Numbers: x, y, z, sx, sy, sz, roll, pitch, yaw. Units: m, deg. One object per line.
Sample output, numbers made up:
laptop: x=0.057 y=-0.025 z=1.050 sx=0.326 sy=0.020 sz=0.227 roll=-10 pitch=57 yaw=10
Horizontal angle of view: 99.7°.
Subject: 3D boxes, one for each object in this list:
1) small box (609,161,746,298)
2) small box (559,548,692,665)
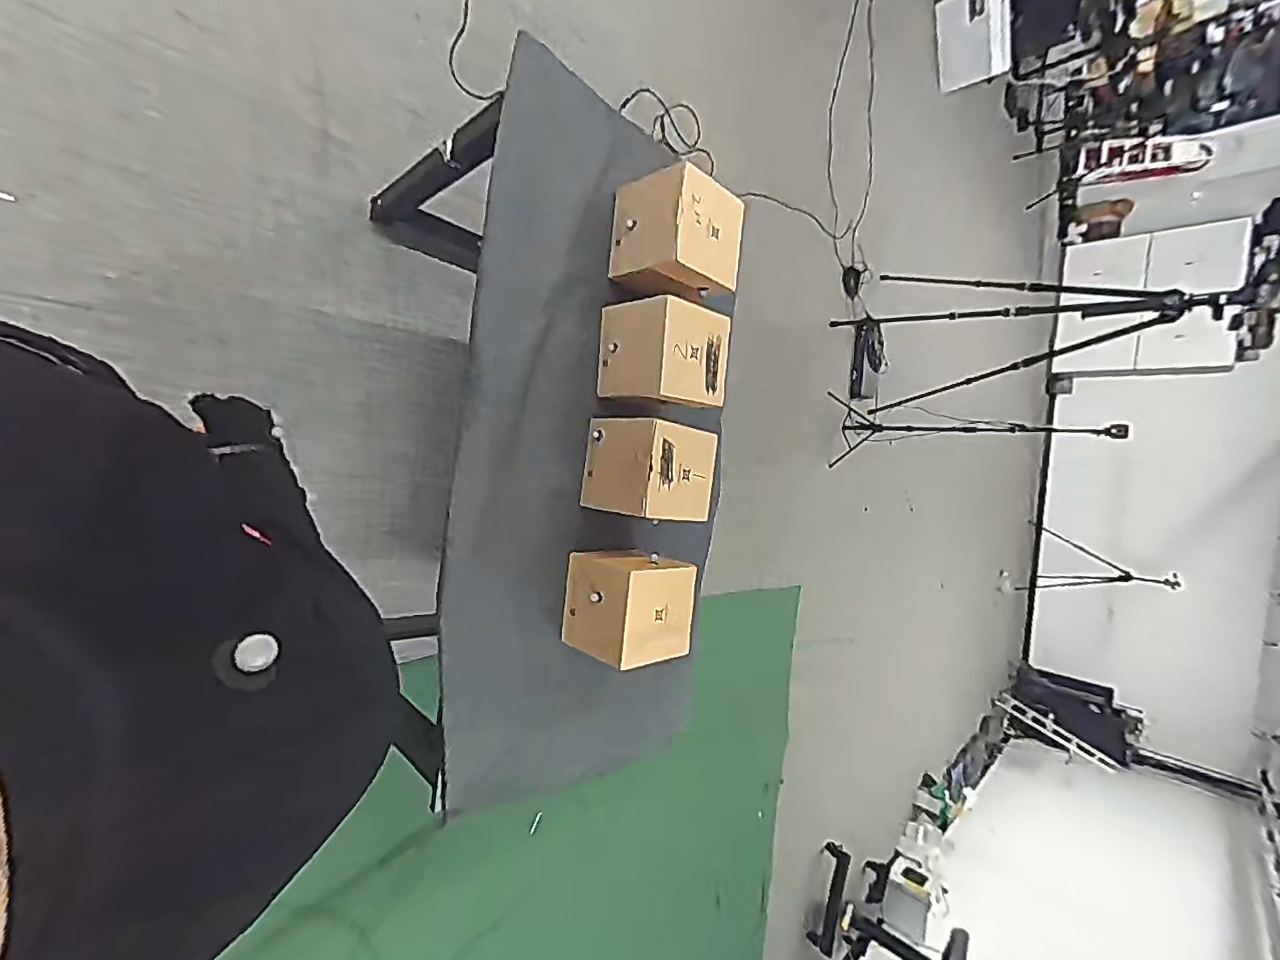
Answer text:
small box: x=0.068 y=-0.444 z=0.994 sx=0.179 sy=0.176 sz=0.168 roll=4 pitch=93 yaw=-46
small box: x=-0.029 y=0.222 z=0.994 sx=0.179 sy=0.176 sz=0.168 roll=5 pitch=92 yaw=-46
